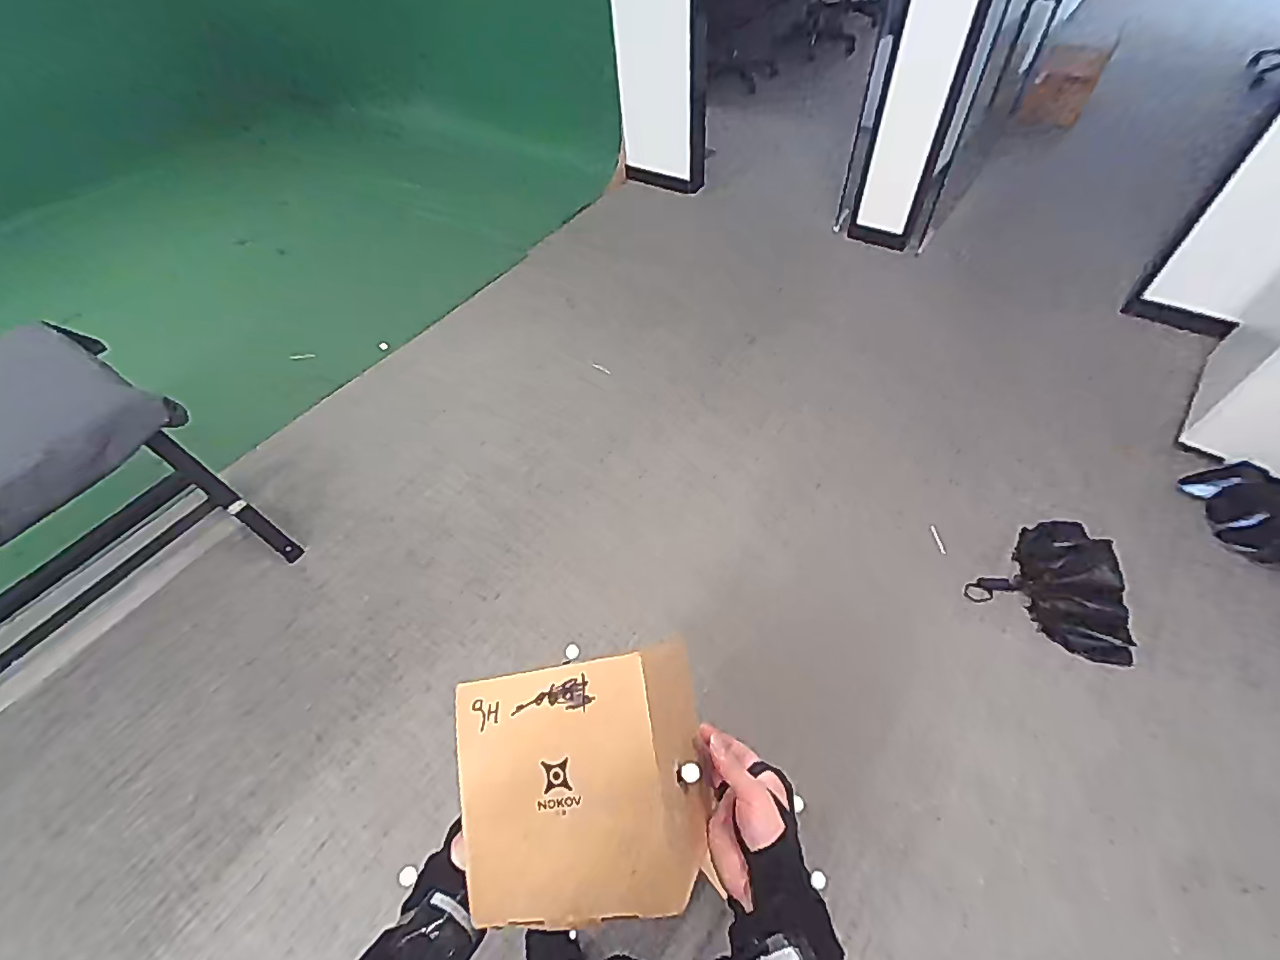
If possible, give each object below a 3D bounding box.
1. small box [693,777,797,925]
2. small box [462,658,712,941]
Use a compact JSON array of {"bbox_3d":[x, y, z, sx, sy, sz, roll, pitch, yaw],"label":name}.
[{"bbox_3d":[0.182,0.736,1.080,0.179,0.176,0.168,-36,57,-21],"label":"small box"},{"bbox_3d":[-0.038,0.268,0.490,0.168,0.176,0.179,-13,73,12],"label":"small box"}]
